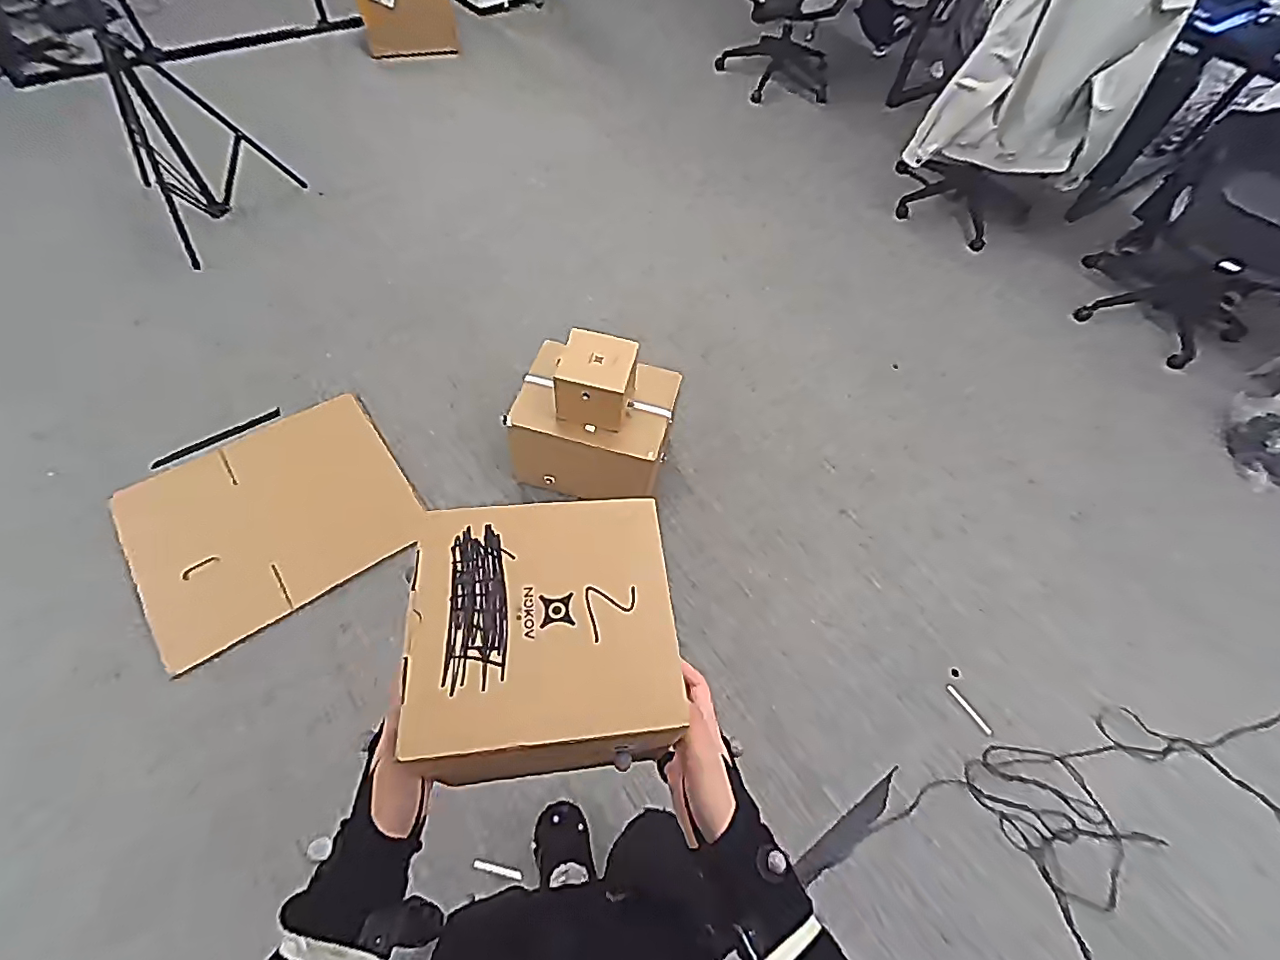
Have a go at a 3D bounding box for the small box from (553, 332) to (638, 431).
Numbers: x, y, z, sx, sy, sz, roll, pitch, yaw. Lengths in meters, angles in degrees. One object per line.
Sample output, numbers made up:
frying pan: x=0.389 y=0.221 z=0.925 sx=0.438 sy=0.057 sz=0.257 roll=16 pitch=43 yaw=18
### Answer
small box: x=-0.111 y=-0.244 z=1.371 sx=0.179 sy=0.176 sz=0.168 roll=13 pitch=61 yaw=2
